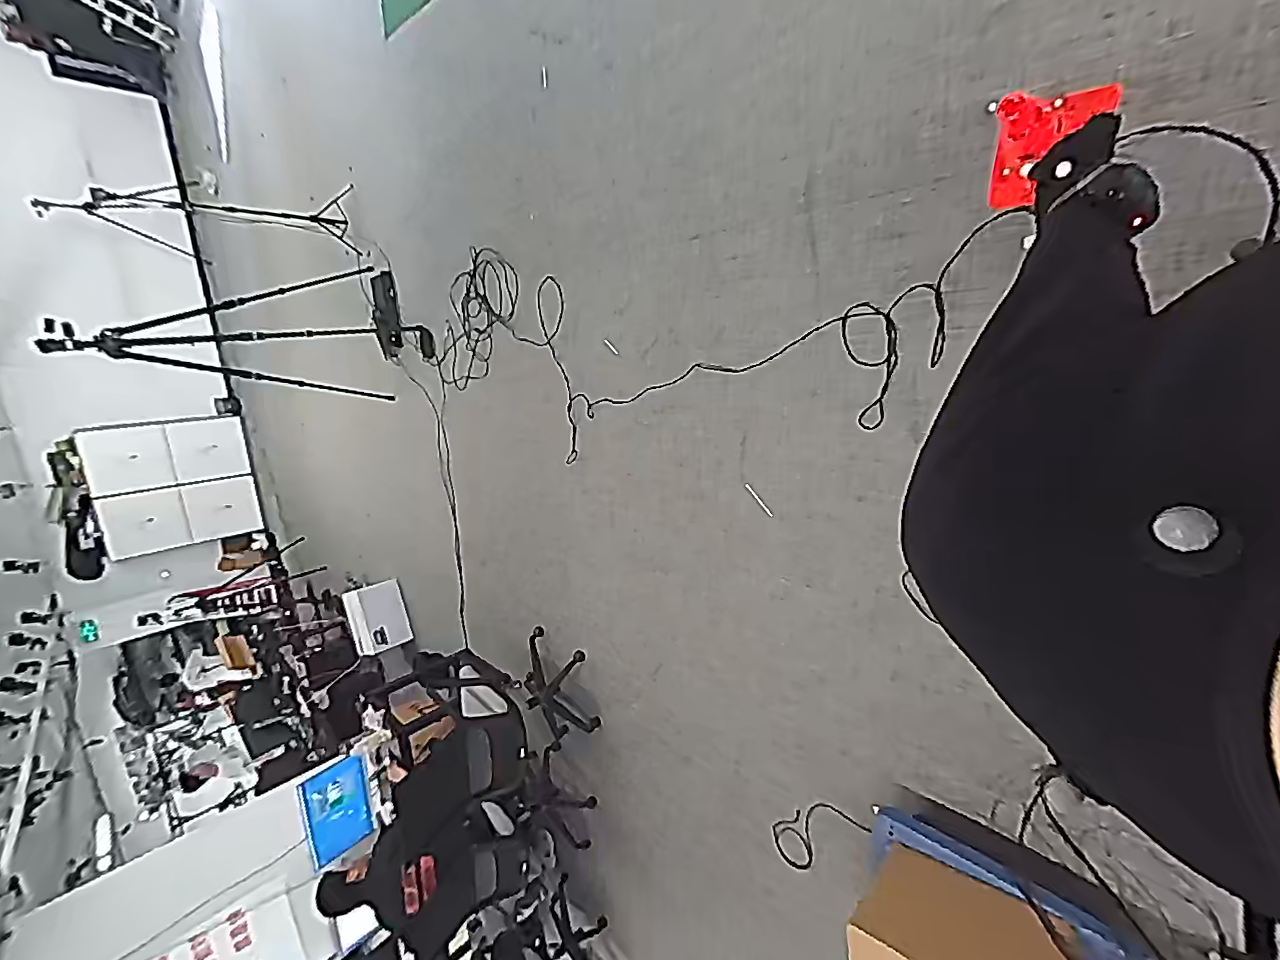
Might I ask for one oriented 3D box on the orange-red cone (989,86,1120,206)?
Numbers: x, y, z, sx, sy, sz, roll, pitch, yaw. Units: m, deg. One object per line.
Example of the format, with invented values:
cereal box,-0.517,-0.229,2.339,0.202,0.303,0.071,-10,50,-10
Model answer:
orange-red cone,0.739,-0.658,1.012,0.198,0.360,0.199,16,111,42
